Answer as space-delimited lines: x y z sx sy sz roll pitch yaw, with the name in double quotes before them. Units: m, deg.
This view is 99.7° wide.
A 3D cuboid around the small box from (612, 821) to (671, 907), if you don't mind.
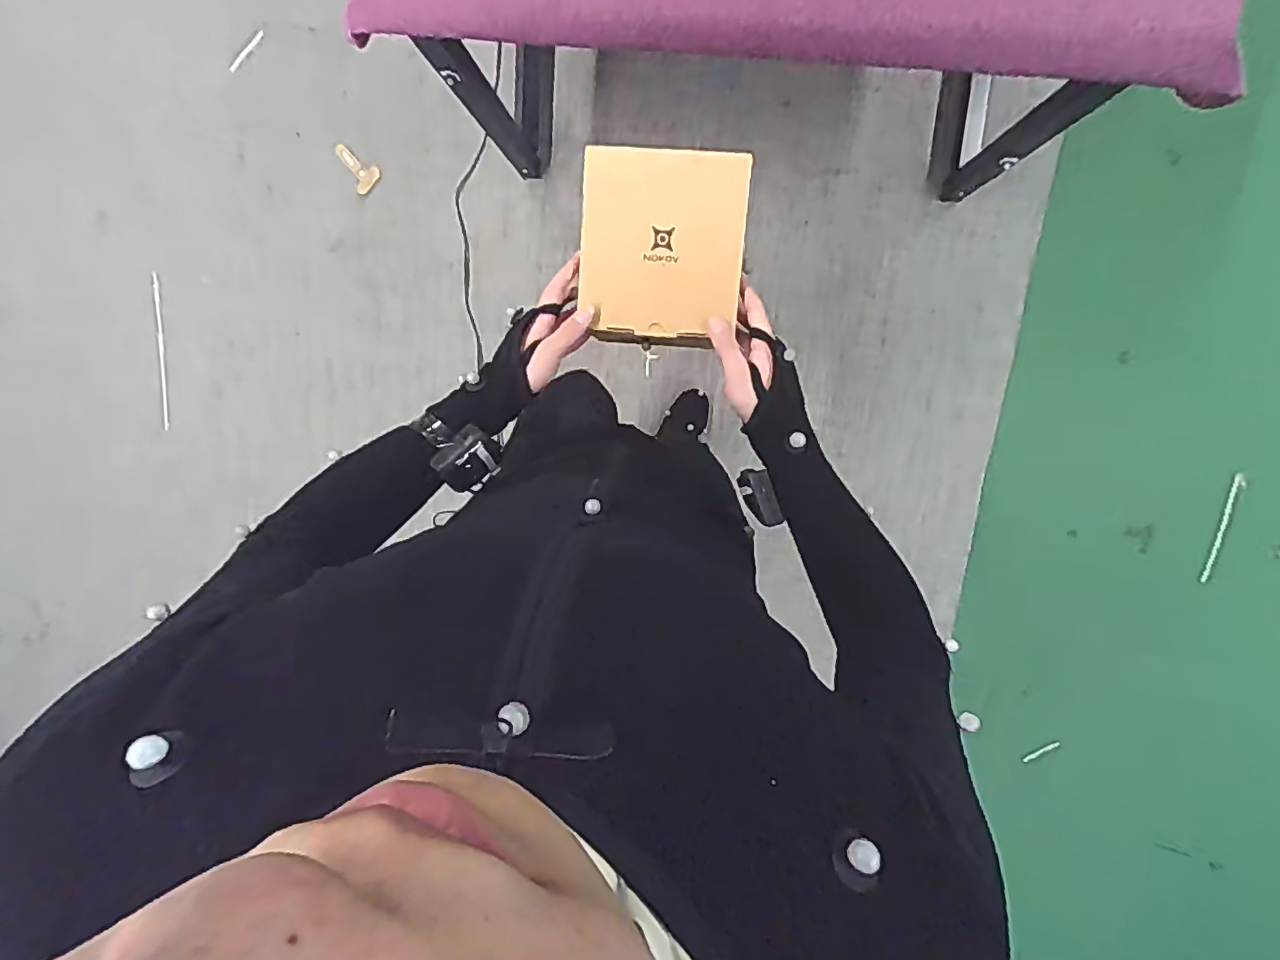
"small box" 0.010 1.238 1.773 0.168 0.176 0.179 10 102 4
